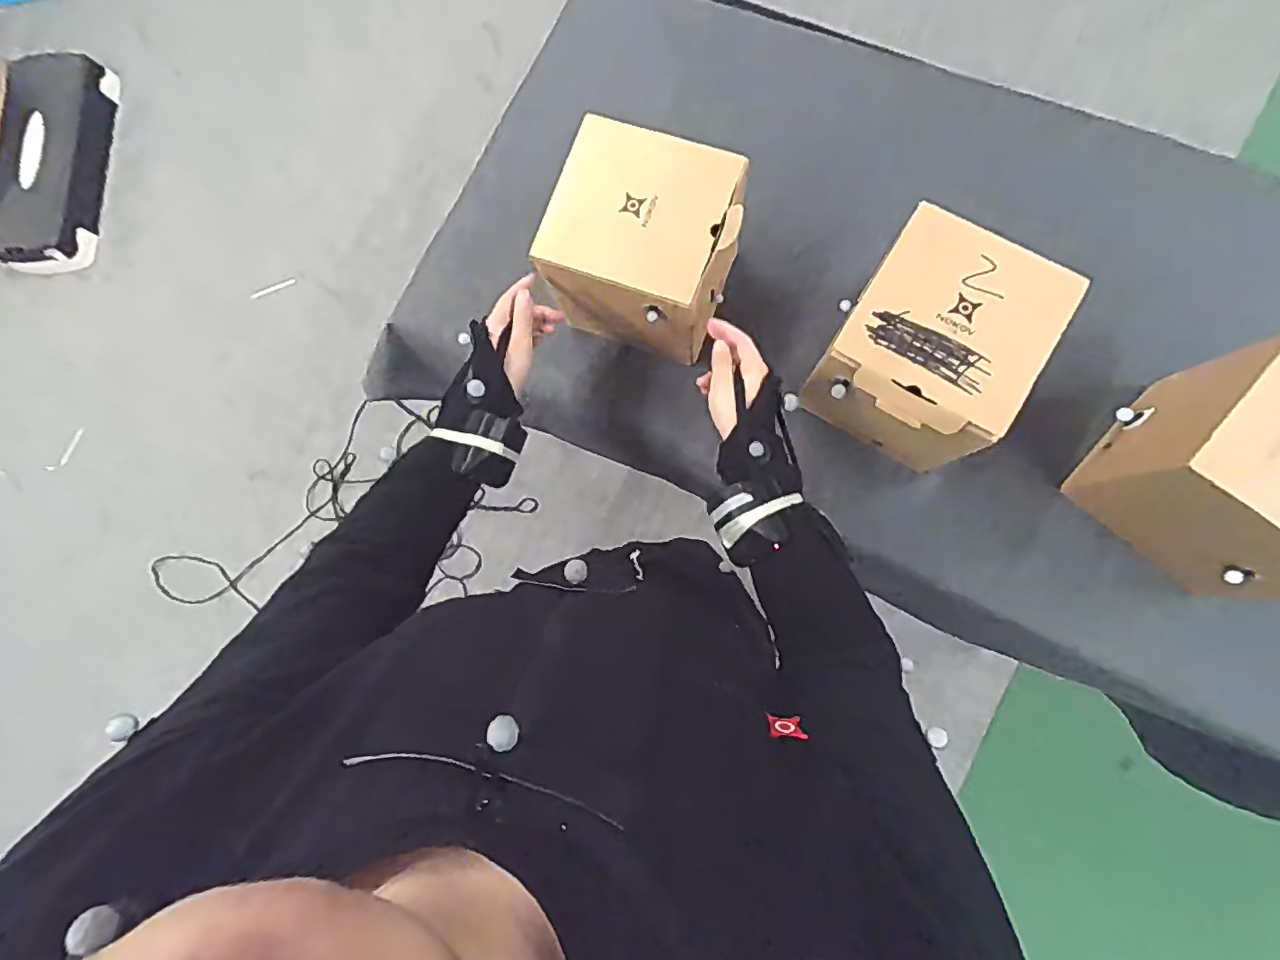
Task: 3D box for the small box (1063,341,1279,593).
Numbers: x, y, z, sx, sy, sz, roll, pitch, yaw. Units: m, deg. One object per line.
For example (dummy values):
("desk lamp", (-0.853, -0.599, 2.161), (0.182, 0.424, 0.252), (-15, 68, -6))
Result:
("small box", (0.584, -0.005, 0.527), (0.179, 0.176, 0.168), (42, 87, 10))
